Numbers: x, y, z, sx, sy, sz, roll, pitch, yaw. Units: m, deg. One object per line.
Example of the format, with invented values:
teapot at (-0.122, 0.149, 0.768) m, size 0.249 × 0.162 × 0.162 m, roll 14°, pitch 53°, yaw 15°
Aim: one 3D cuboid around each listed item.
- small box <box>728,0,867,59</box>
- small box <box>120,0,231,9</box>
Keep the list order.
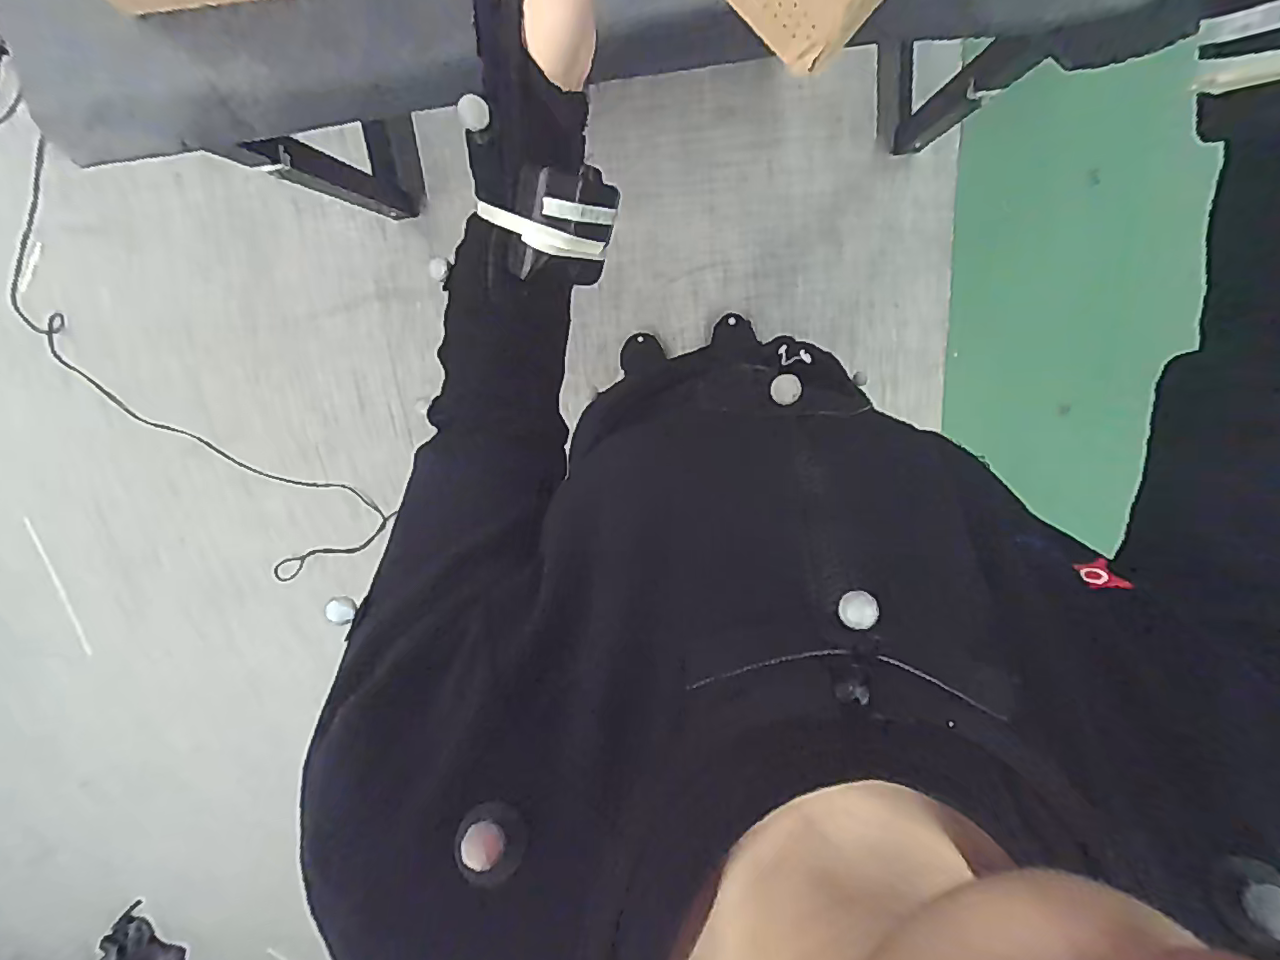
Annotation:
small box at (0.085, -0.311, 0.179) m, size 0.168 × 0.176 × 0.179 m, roll 42°, pitch 93°, yaw -7°
small box at (-0.421, -0.518, 0.424) m, size 0.179 × 0.176 × 0.168 m, roll -3°, pitch 104°, yaw 4°
